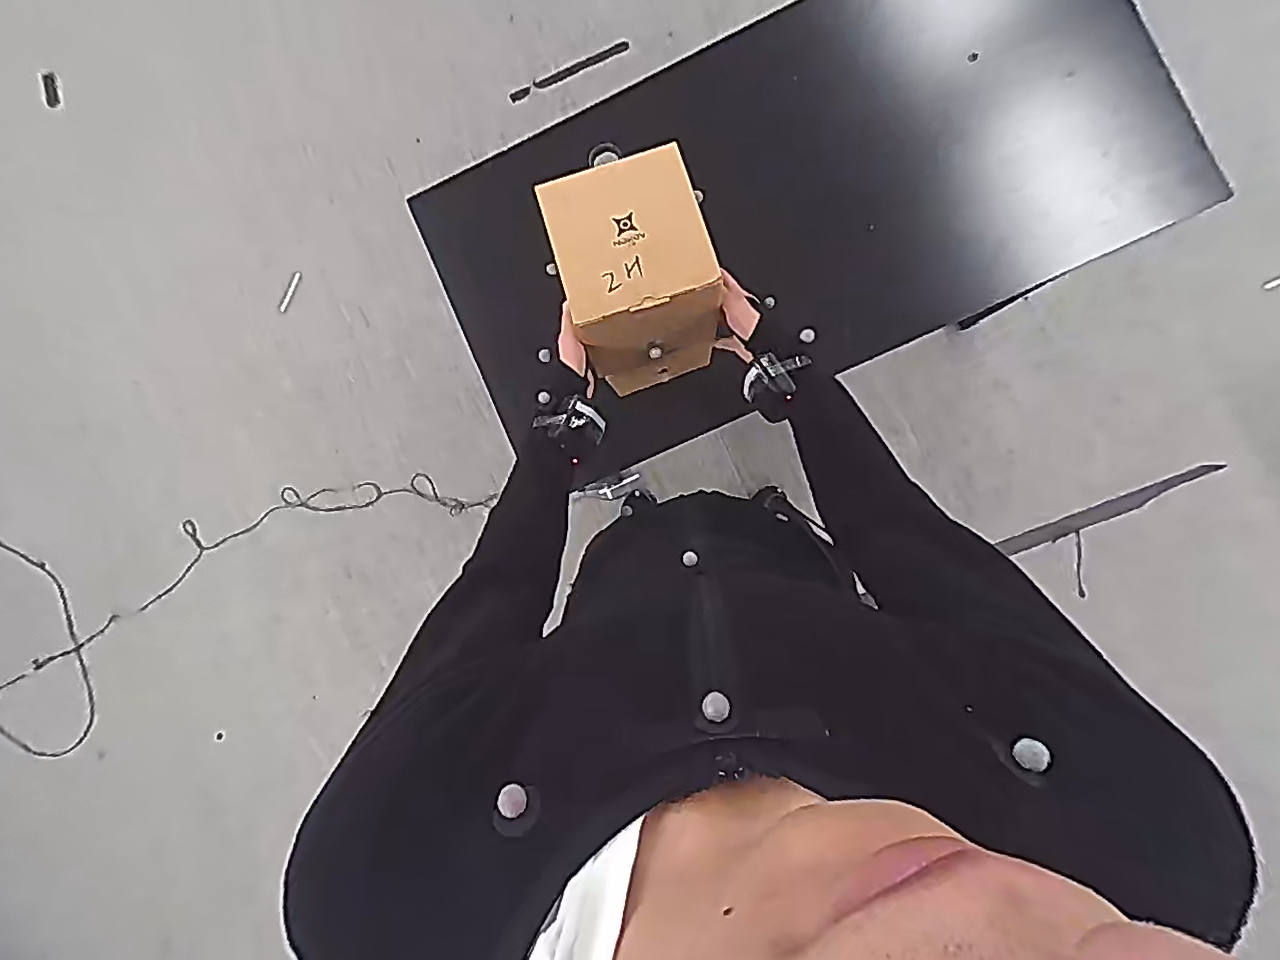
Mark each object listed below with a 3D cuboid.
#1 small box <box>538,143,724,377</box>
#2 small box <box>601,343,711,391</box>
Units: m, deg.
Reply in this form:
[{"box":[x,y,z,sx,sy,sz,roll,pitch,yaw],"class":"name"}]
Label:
[{"box":[-0.008,-0.249,0.649,0.168,0.176,0.179,-16,80,2],"class":"small box"},{"box":[0.006,-0.247,0.838,0.168,0.176,0.179,-20,88,5],"class":"small box"}]
